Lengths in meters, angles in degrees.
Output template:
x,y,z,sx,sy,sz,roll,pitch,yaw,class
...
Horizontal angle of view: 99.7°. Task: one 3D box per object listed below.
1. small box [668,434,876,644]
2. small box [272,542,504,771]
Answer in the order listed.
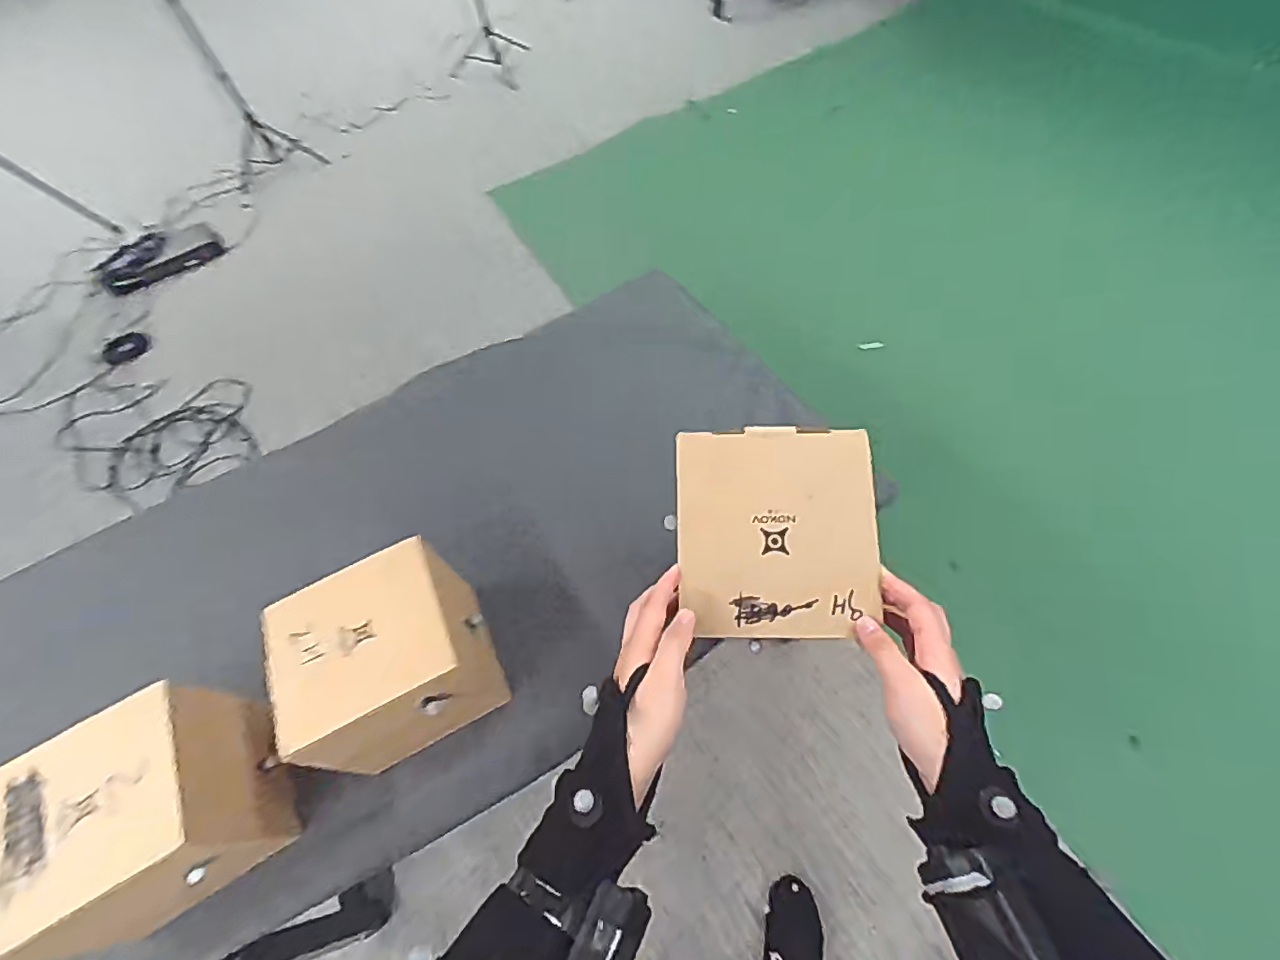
x,y,z,sx,sy,sz,roll,pitch,yaw,class
0.111,0.063,0.530,0.168,0.176,0.179,-2,79,4,small box
-0.271,0.204,0.614,0.179,0.176,0.168,-27,58,-8,small box
